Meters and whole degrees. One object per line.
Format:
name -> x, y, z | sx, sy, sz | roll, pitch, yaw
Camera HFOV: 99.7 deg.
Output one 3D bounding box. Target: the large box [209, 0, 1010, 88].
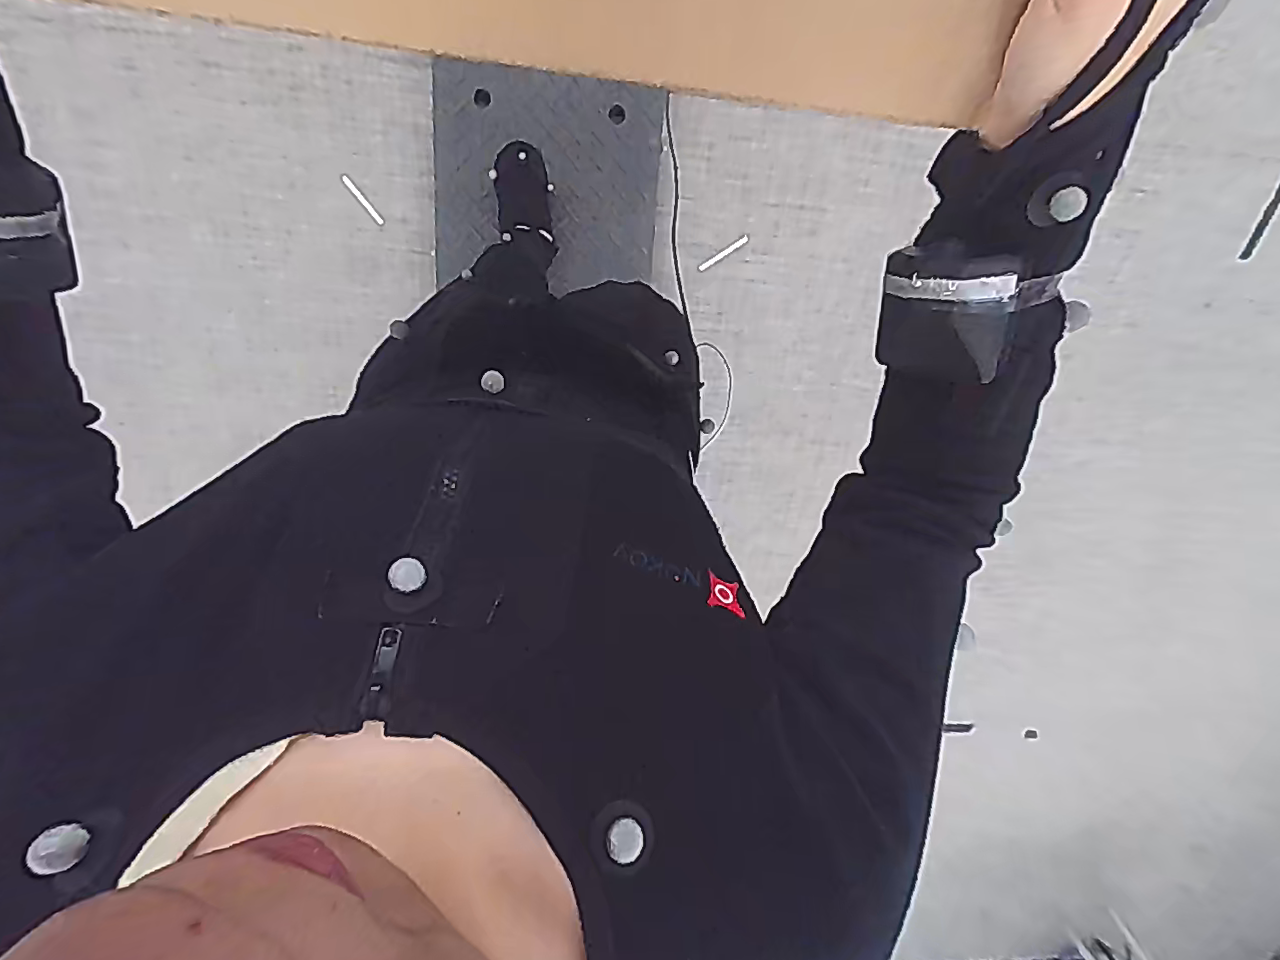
large box -> -0.039, -0.397, 0.218 | 0.408, 0.320, 0.320 | 3, 137, -6
